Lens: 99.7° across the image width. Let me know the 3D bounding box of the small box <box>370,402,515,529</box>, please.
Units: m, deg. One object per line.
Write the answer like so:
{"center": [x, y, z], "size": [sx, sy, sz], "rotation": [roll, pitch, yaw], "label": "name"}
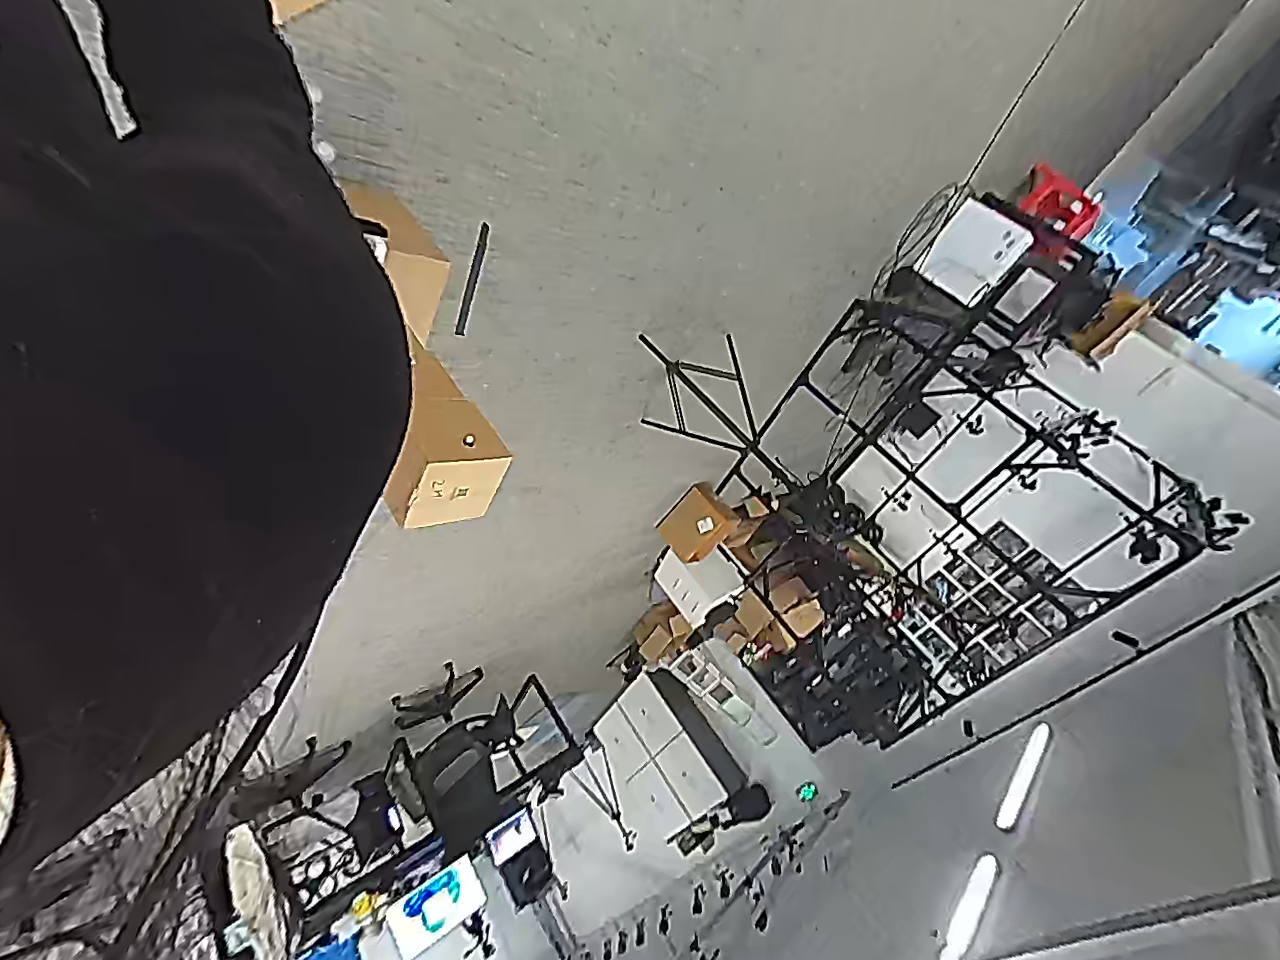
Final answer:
{"center": [-0.374, -0.034, 1.021], "size": [0.179, 0.176, 0.168], "rotation": [-7, 139, -50], "label": "small box"}
